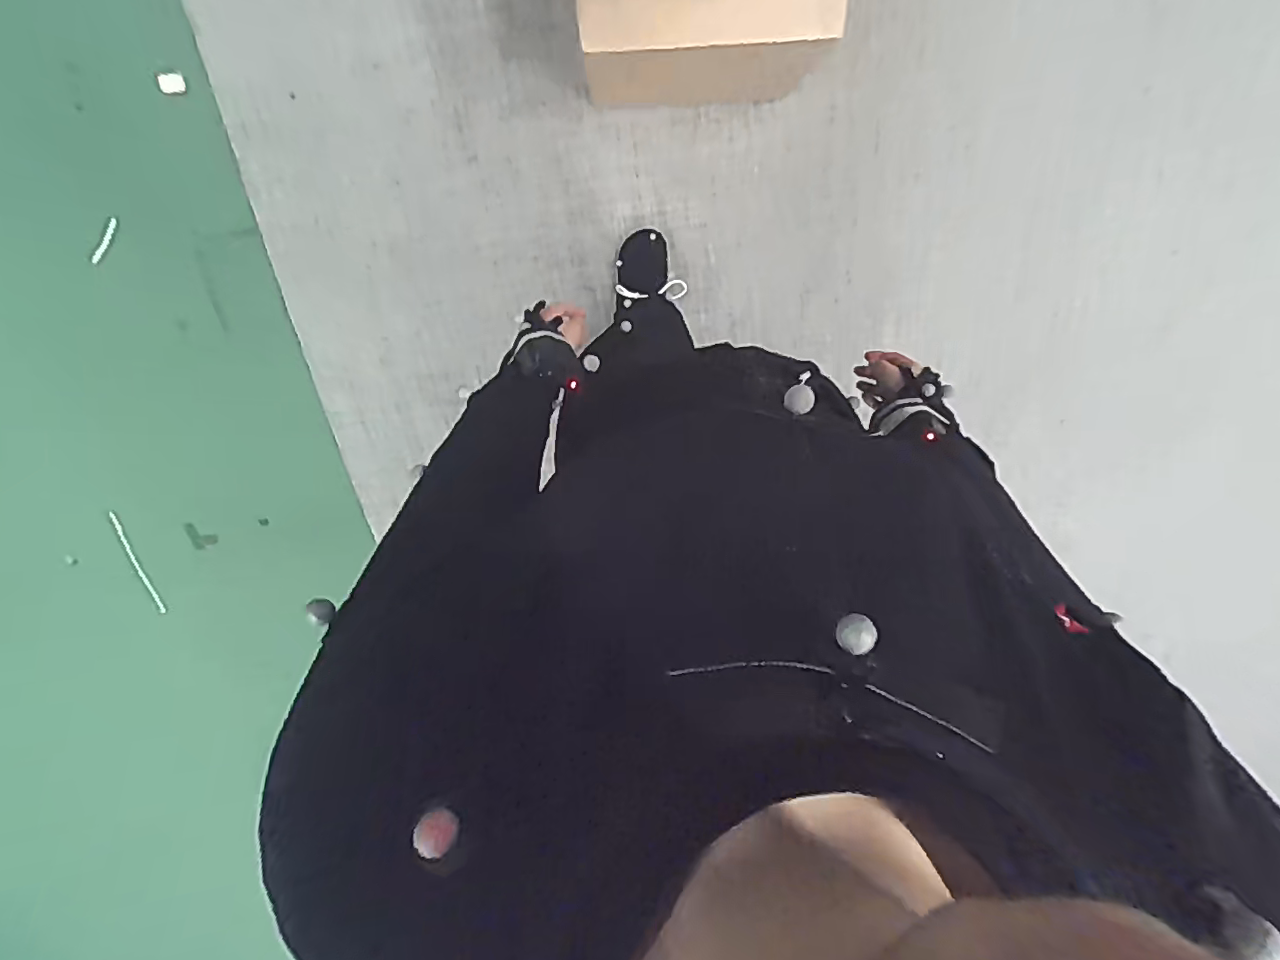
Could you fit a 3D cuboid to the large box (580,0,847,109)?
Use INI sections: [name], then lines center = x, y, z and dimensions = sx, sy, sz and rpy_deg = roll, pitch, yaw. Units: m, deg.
[large box]
center = 0.097, -0.857, 0.906
dimensions = 0.408, 0.320, 0.320
rpy_deg = -4, 112, -1
